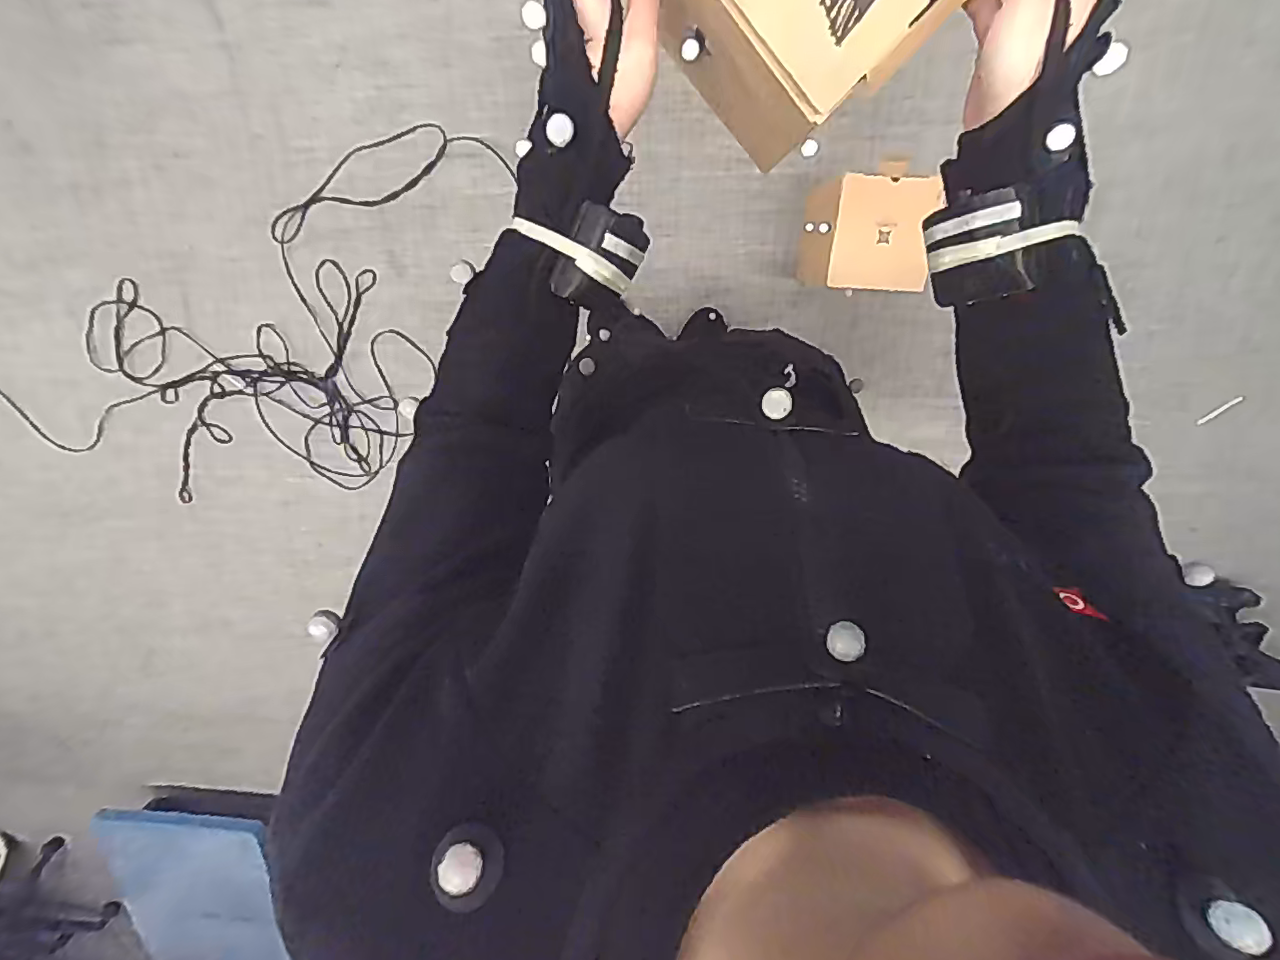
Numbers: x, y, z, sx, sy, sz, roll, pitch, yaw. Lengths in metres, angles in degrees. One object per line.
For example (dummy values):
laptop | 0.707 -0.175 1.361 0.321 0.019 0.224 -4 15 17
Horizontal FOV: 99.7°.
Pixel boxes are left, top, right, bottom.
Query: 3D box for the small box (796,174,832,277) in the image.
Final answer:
small box | 0.428 -0.511 1.111 0.168 0.176 0.179 4 109 3

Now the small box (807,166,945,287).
small box | 0.405 -0.442 0.964 0.168 0.176 0.179 4 110 3
